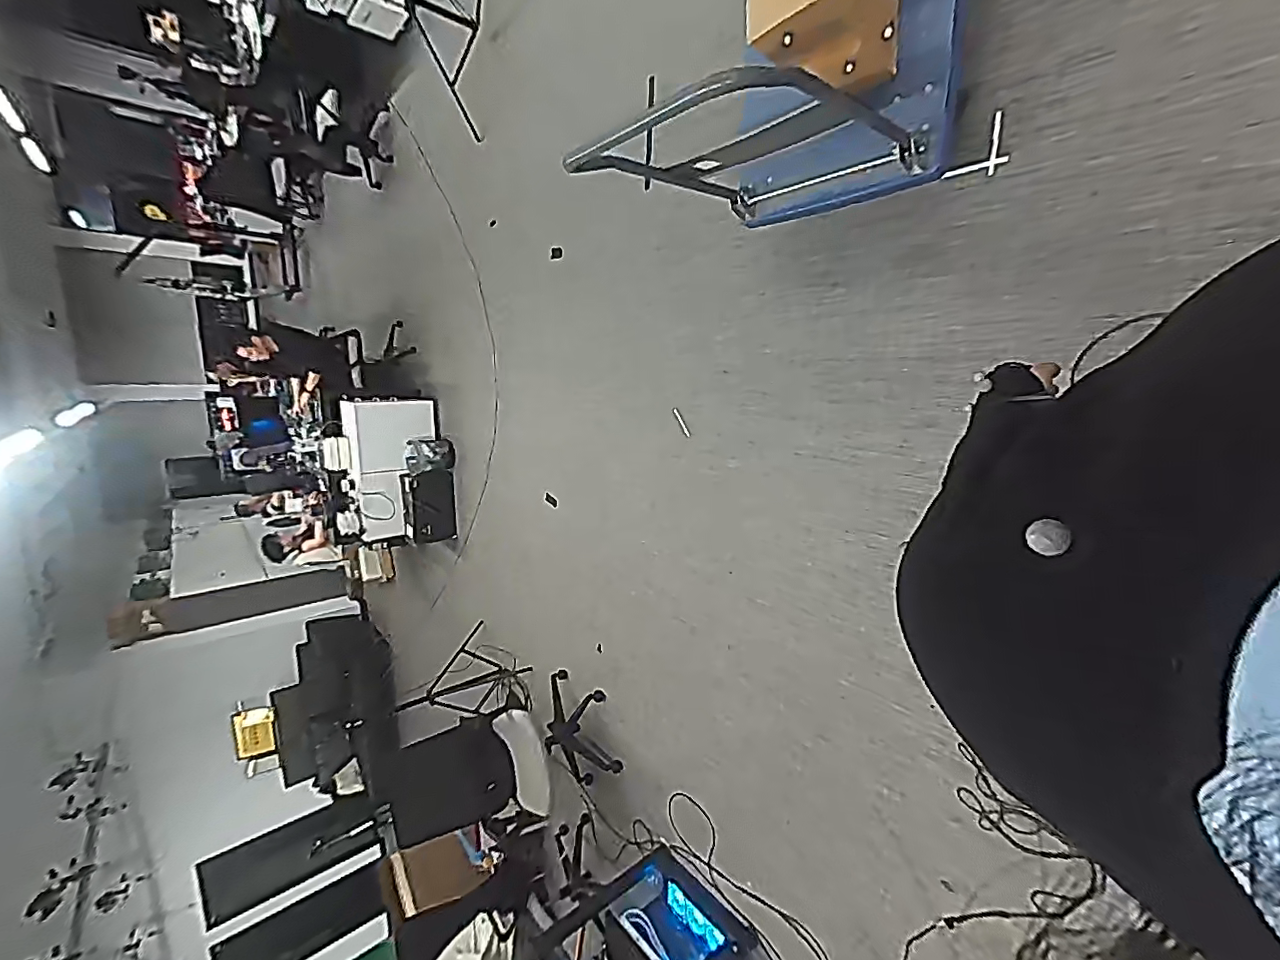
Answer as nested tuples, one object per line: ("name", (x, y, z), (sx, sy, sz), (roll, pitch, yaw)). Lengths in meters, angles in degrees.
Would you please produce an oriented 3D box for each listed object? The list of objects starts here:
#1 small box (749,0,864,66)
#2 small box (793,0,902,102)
("small box", (0.349, -1.021, 1.137), (0.179, 0.176, 0.168), (8, 103, 49))
("small box", (0.476, -1.014, 1.245), (0.179, 0.176, 0.168), (7, 102, 49))
